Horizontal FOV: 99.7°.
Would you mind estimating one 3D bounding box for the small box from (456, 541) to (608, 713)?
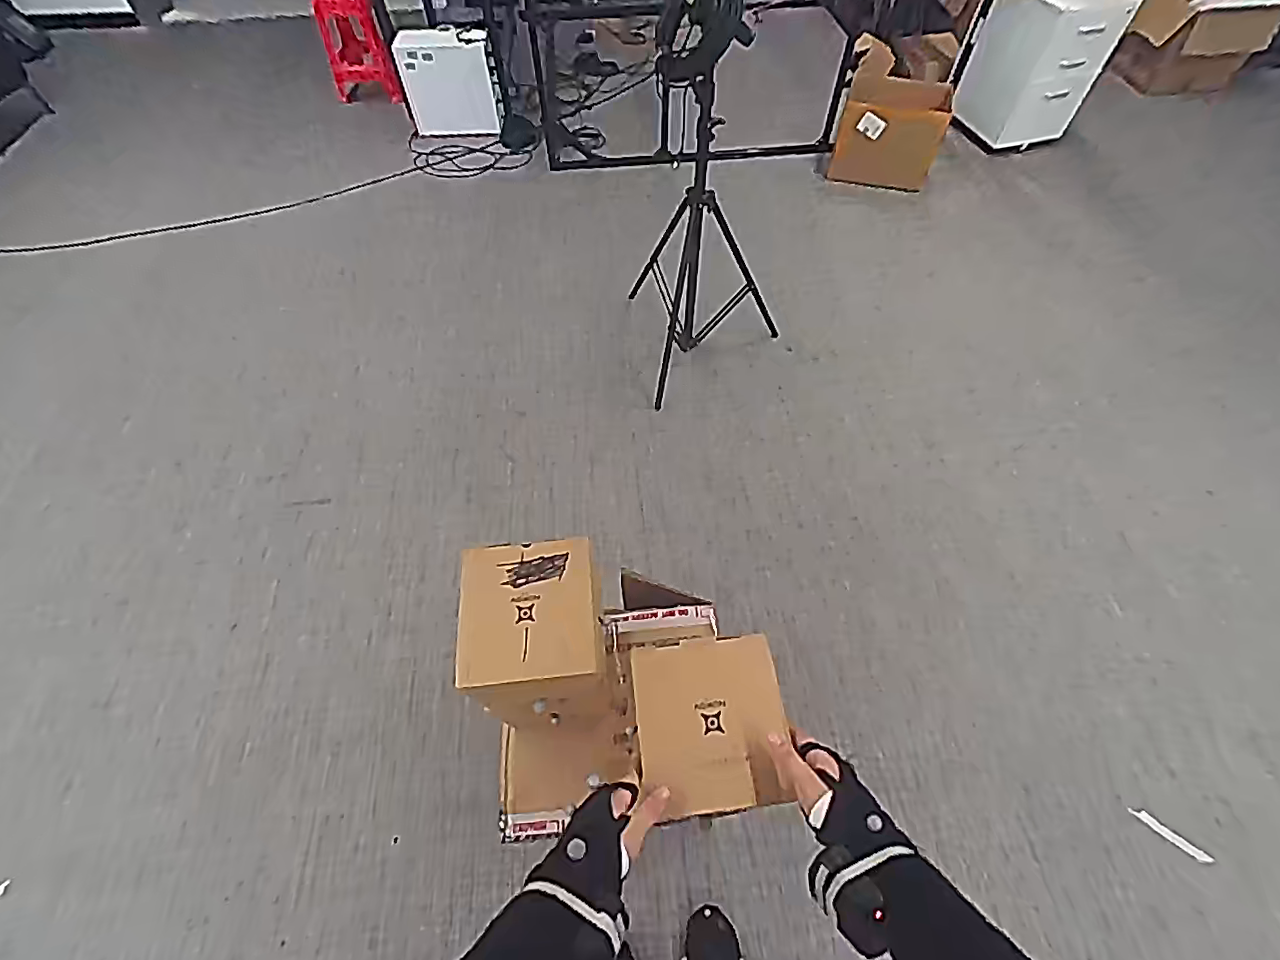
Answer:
[{"bbox_3d":[-0.134,0.201,0.728,0.168,0.176,0.179,-6,60,-1],"label":"small box"}]

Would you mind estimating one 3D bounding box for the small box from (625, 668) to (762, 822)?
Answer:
[{"bbox_3d":[0.069,0.393,0.799,0.168,0.176,0.179,-5,58,-4],"label":"small box"}]

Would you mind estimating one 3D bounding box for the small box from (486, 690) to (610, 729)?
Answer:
[{"bbox_3d":[-0.144,0.285,0.870,0.168,0.176,0.179,-9,59,-3],"label":"small box"}]
